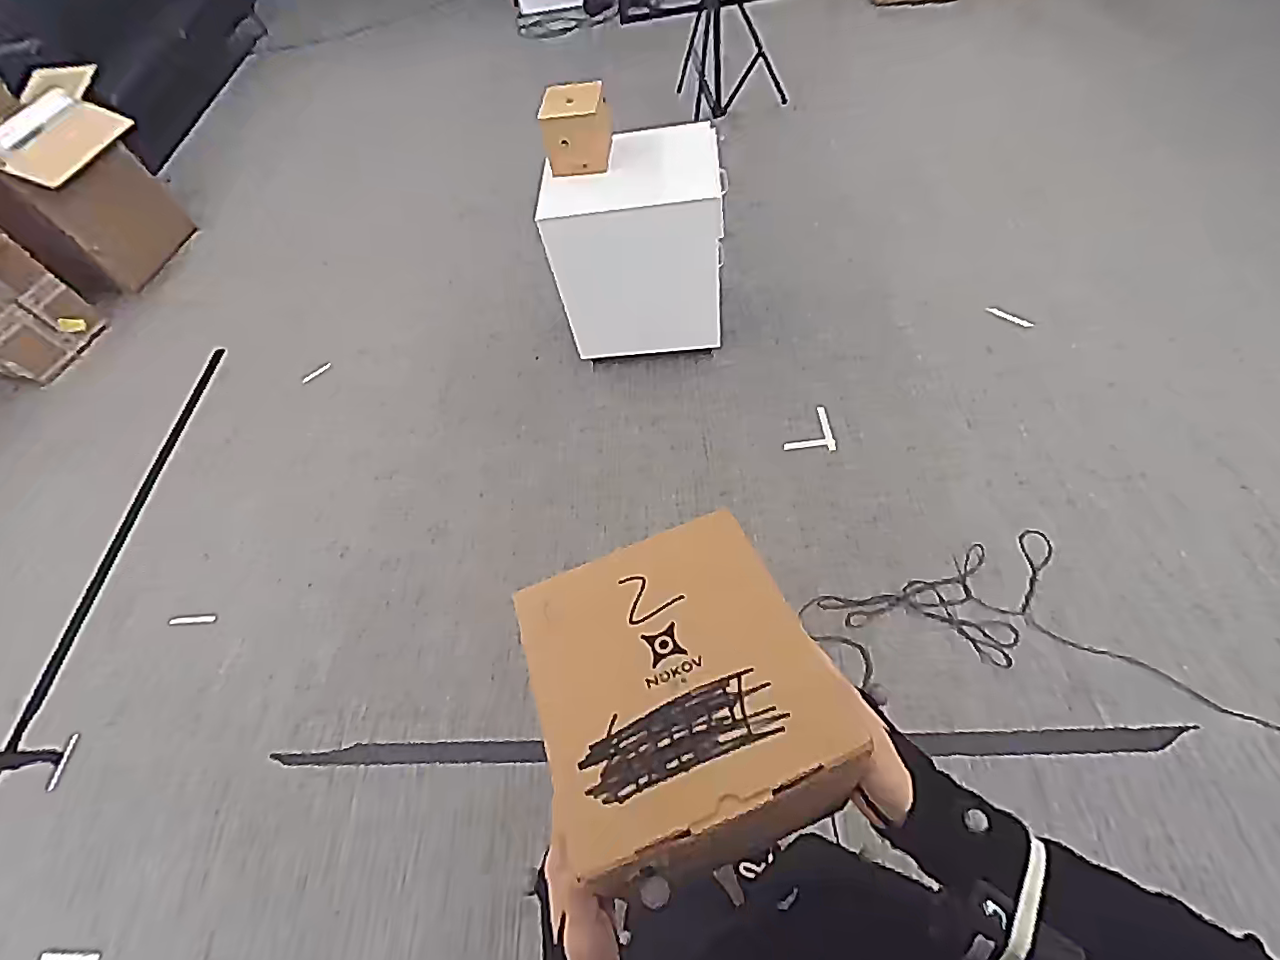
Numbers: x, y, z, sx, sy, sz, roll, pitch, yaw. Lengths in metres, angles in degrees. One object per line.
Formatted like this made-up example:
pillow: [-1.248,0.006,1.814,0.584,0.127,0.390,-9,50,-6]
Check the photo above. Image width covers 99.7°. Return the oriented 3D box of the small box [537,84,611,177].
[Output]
small box: [-0.183,-1.003,1.566,0.168,0.176,0.179,-1,59,9]
